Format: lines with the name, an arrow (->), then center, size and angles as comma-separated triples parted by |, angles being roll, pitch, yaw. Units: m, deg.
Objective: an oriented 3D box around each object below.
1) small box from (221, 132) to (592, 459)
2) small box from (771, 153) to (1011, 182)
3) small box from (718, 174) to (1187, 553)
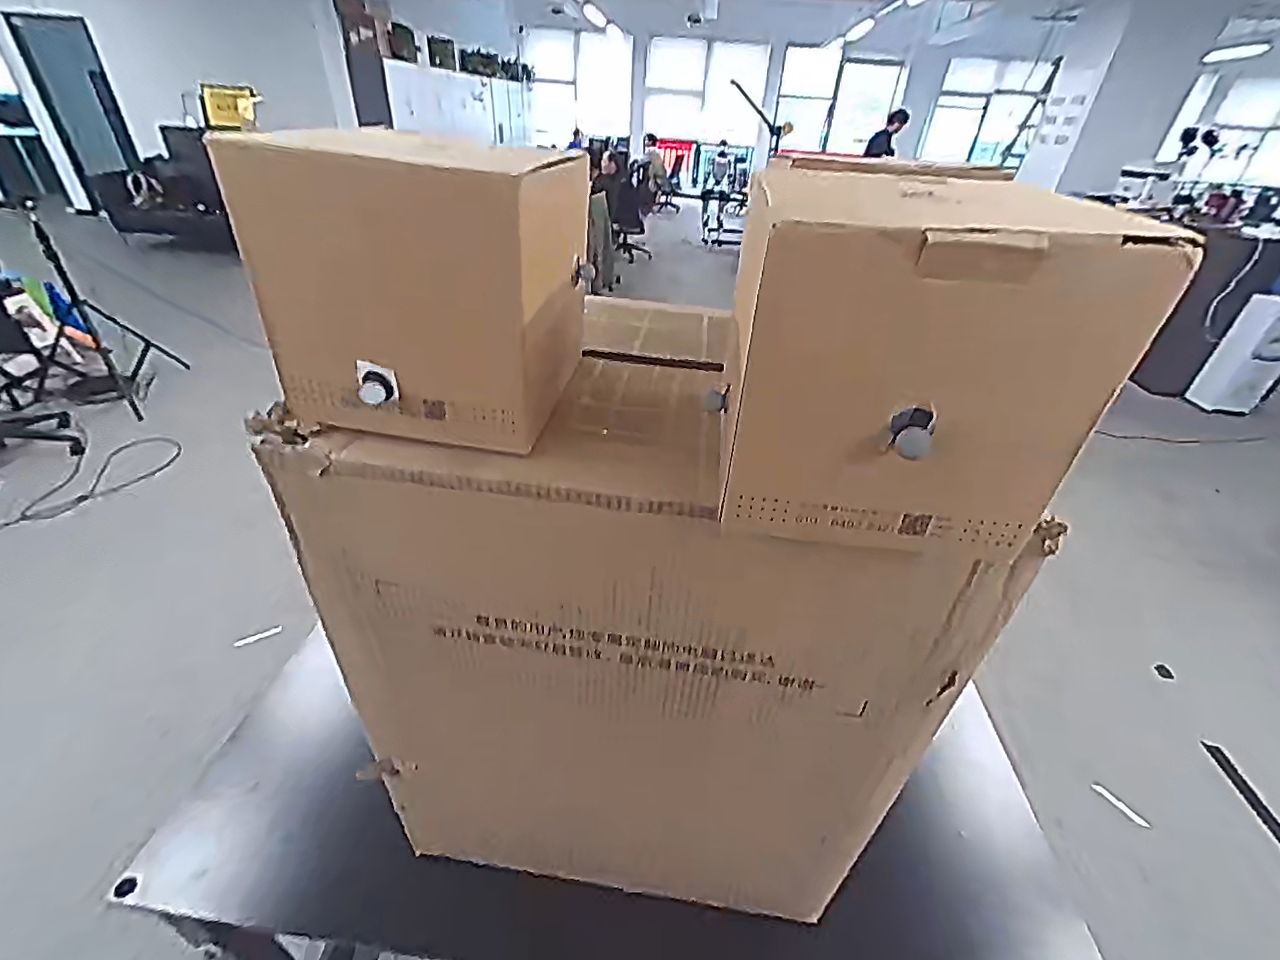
small box -> -0.134, -0.138, 0.386 | 0.168, 0.176, 0.179 | 8, 35, 3
small box -> 0.200, -0.207, 0.518 | 0.168, 0.176, 0.179 | 5, 31, 4
small box -> 0.140, -0.076, 0.328 | 0.168, 0.176, 0.179 | 6, 37, 5
